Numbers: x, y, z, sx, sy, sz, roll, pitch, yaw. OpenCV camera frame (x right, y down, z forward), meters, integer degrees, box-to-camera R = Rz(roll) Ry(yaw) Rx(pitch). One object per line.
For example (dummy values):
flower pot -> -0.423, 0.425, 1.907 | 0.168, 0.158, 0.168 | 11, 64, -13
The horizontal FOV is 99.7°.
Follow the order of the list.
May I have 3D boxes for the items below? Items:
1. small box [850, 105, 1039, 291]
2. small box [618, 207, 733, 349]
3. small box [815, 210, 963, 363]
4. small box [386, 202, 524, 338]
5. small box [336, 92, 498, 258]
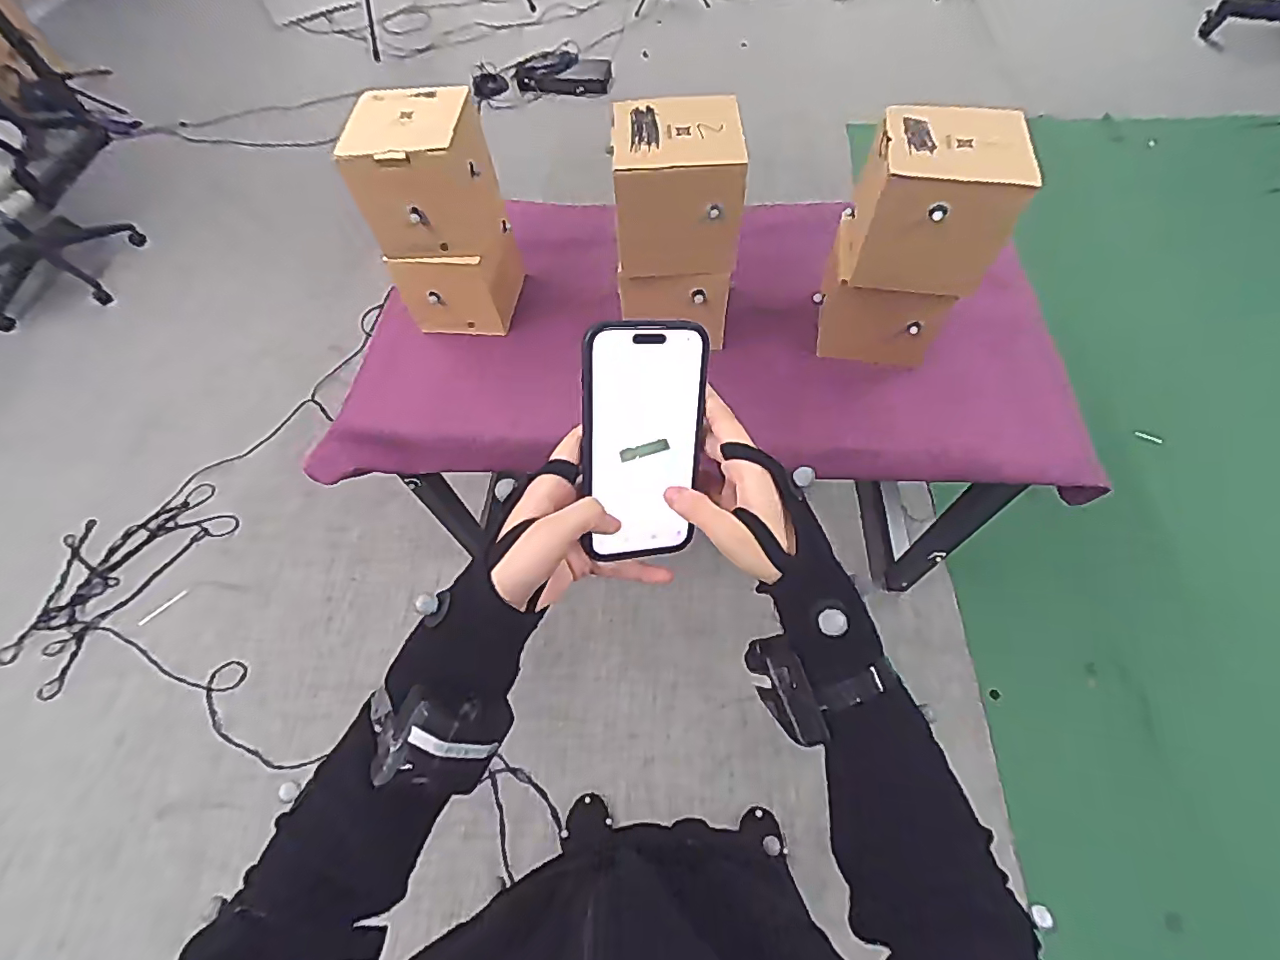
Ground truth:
small box -> 0.397, -0.382, 0.743 | 0.179, 0.176, 0.168 | 8, 60, 8
small box -> 0.064, -0.342, 0.933 | 0.179, 0.176, 0.168 | 3, 60, 6
small box -> 0.401, -0.314, 0.893 | 0.179, 0.176, 0.168 | 8, 60, 9
small box -> -0.322, -0.377, 0.985 | 0.168, 0.176, 0.179 | 3, 60, 6
small box -> -0.333, -0.467, 0.847 | 0.168, 0.176, 0.179 | -1, 60, 3
